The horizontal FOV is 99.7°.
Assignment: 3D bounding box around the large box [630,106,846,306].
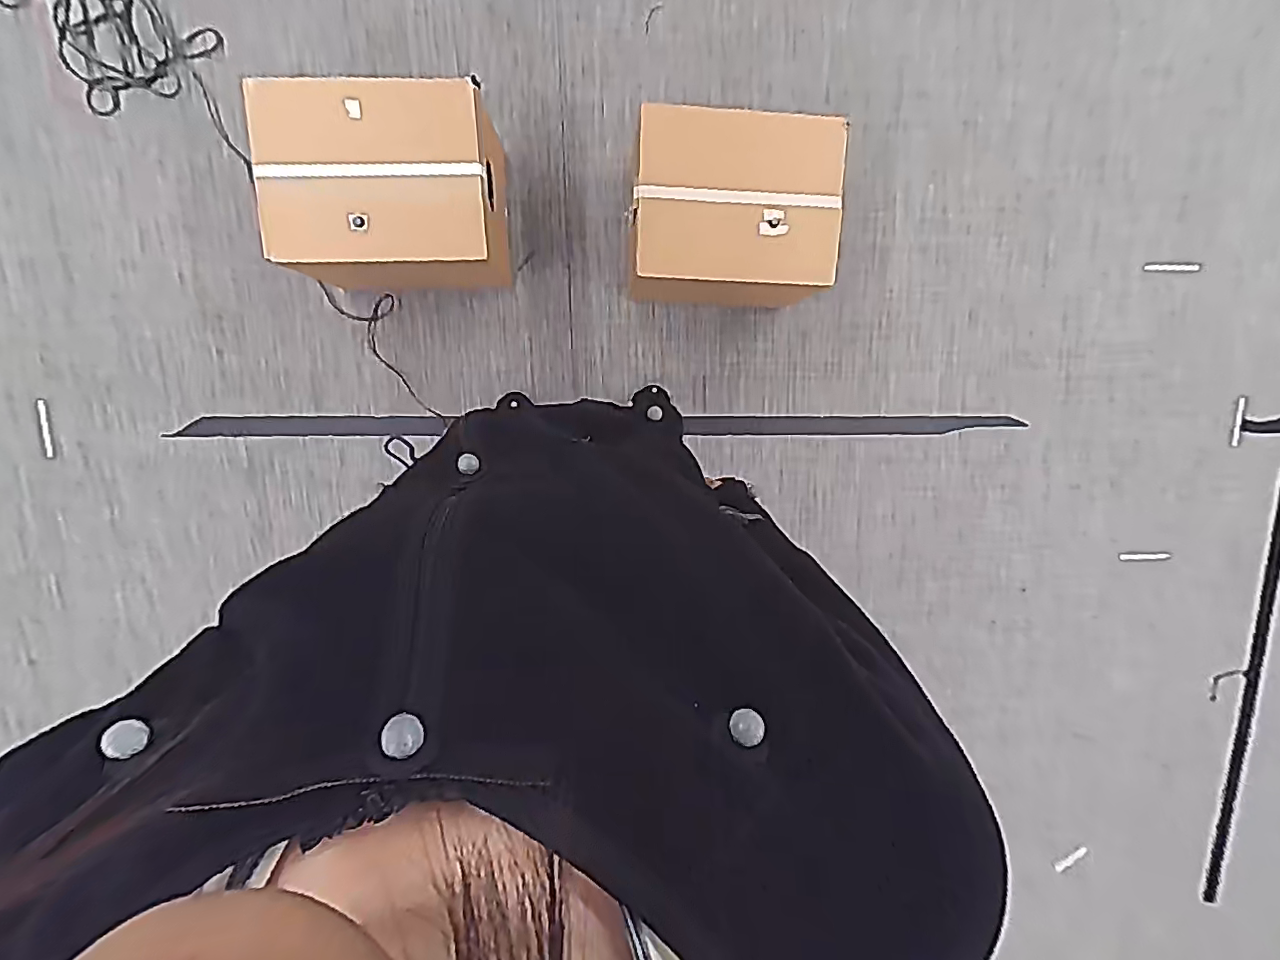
[{"bbox_3d":[0.187,-0.576,1.205,0.408,0.320,0.320,1,100,-6],"label":"large box"}]
